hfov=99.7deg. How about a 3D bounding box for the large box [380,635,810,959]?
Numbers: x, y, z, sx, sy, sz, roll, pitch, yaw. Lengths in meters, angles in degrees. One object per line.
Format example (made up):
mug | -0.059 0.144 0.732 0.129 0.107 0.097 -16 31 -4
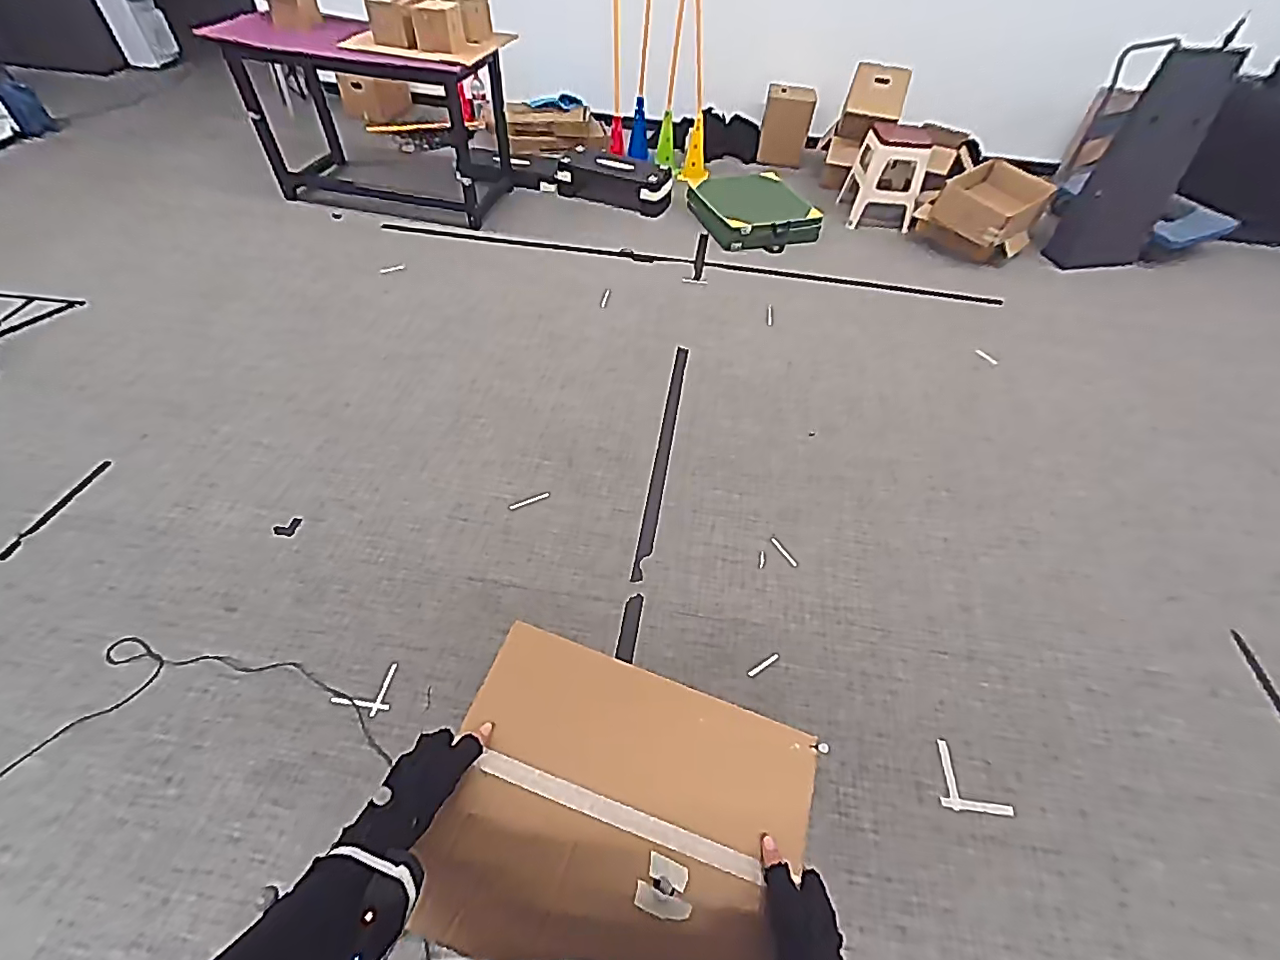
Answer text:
large box | -0.043 0.461 0.715 0.408 0.320 0.320 20 55 5
